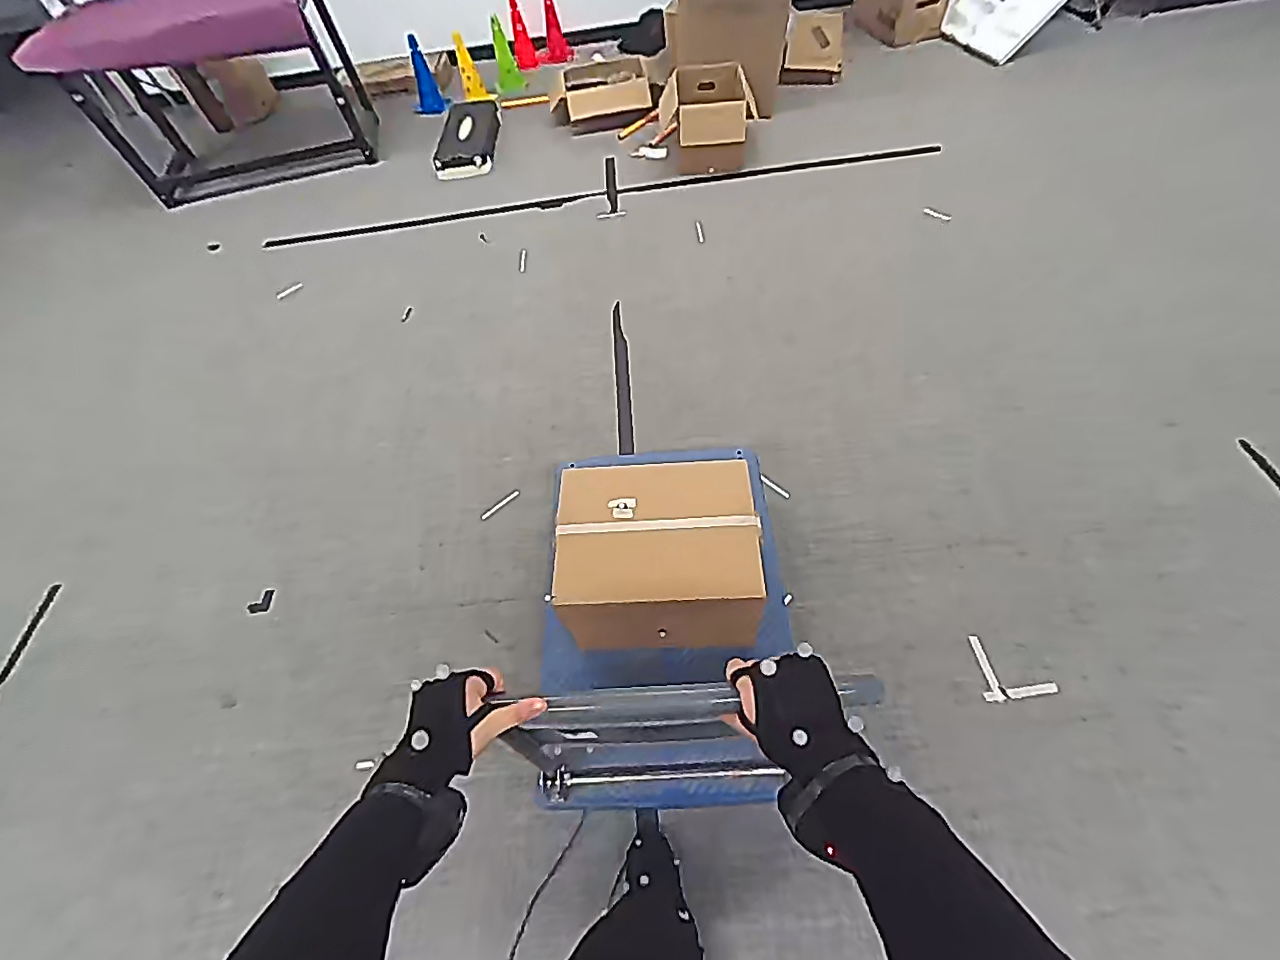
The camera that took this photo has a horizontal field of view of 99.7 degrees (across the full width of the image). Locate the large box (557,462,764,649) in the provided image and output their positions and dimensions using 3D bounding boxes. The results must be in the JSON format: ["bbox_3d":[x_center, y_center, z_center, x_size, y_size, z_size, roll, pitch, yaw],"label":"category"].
[{"bbox_3d":[0.050,0.184,1.232,0.408,0.320,0.320,-4,56,5],"label":"large box"}]
